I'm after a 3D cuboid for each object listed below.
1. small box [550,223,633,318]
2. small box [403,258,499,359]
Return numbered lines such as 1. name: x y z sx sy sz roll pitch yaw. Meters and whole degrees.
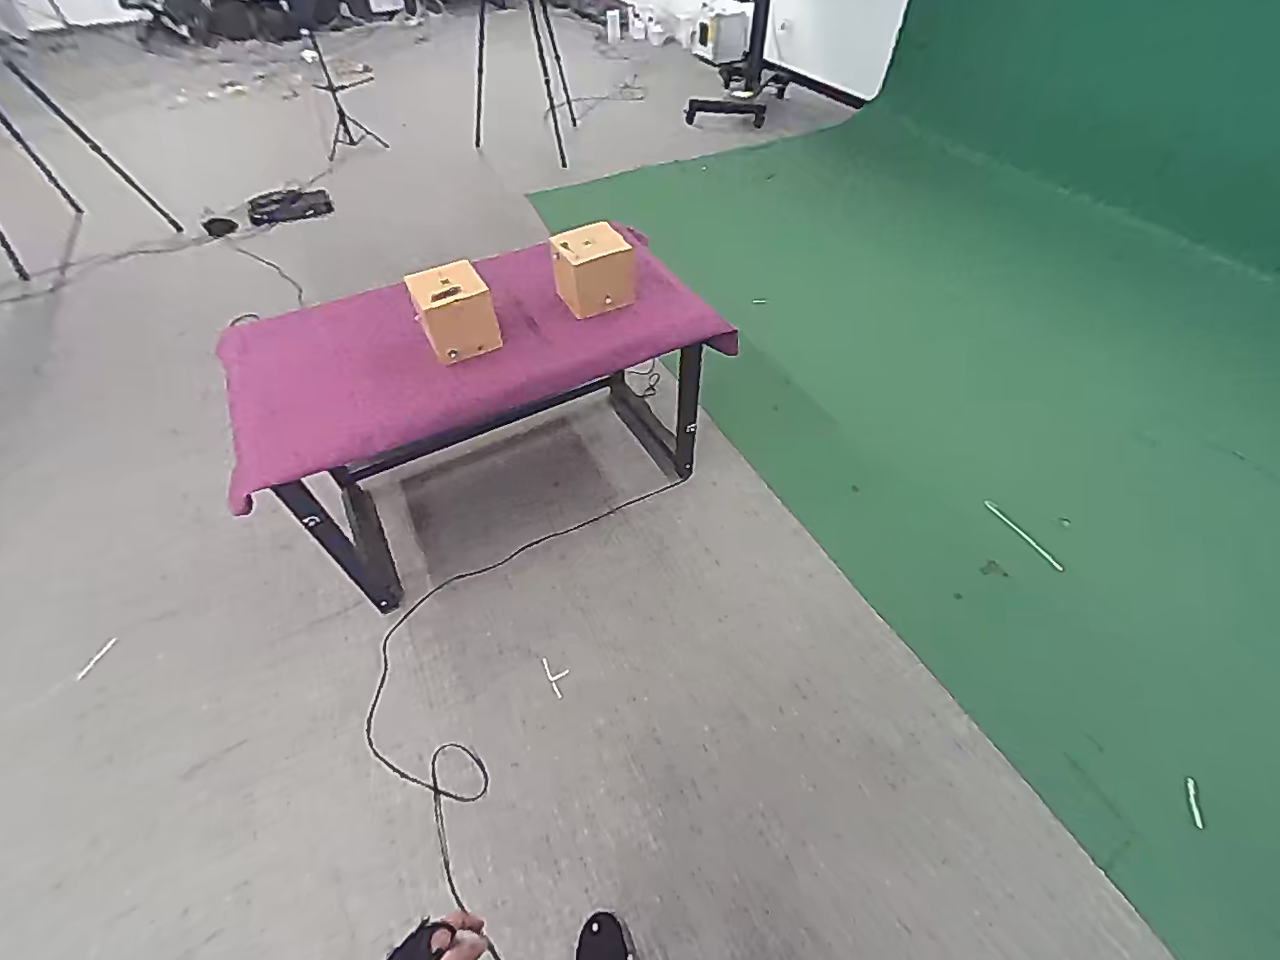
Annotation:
1. small box: -0.133 -0.577 1.495 0.179 0.176 0.168 -23 54 -17
2. small box: -0.475 -0.429 1.377 0.168 0.176 0.179 -24 54 -18
